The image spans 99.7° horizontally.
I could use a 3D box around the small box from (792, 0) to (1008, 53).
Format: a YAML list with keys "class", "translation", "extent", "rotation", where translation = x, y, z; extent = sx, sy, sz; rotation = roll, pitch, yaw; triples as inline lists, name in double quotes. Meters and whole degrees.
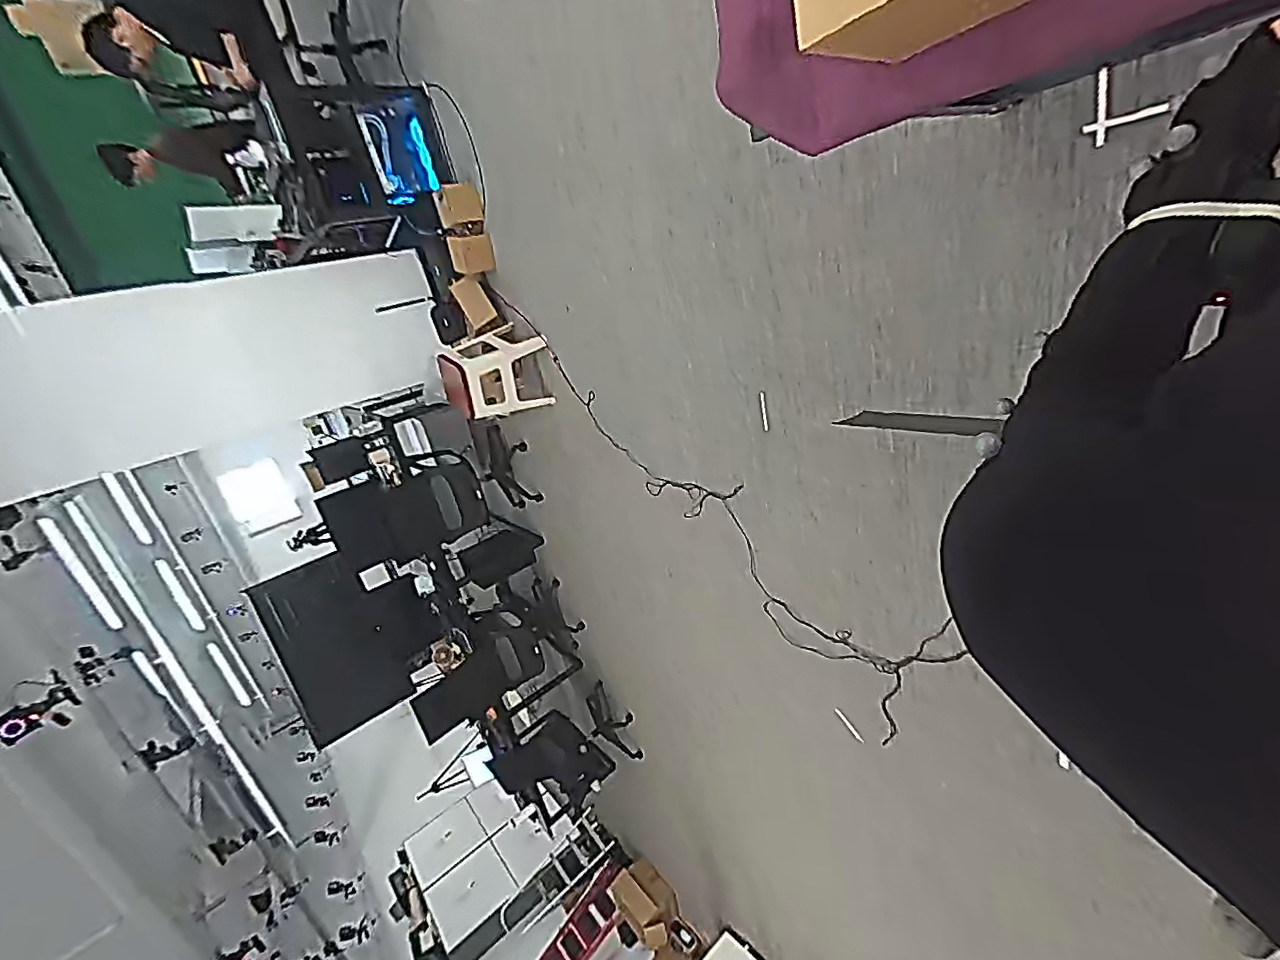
- class: "small box"
  translation: [0.238, -0.478, 0.435]
  extent: [0.179, 0.176, 0.168]
  rotation: [11, 121, 51]
